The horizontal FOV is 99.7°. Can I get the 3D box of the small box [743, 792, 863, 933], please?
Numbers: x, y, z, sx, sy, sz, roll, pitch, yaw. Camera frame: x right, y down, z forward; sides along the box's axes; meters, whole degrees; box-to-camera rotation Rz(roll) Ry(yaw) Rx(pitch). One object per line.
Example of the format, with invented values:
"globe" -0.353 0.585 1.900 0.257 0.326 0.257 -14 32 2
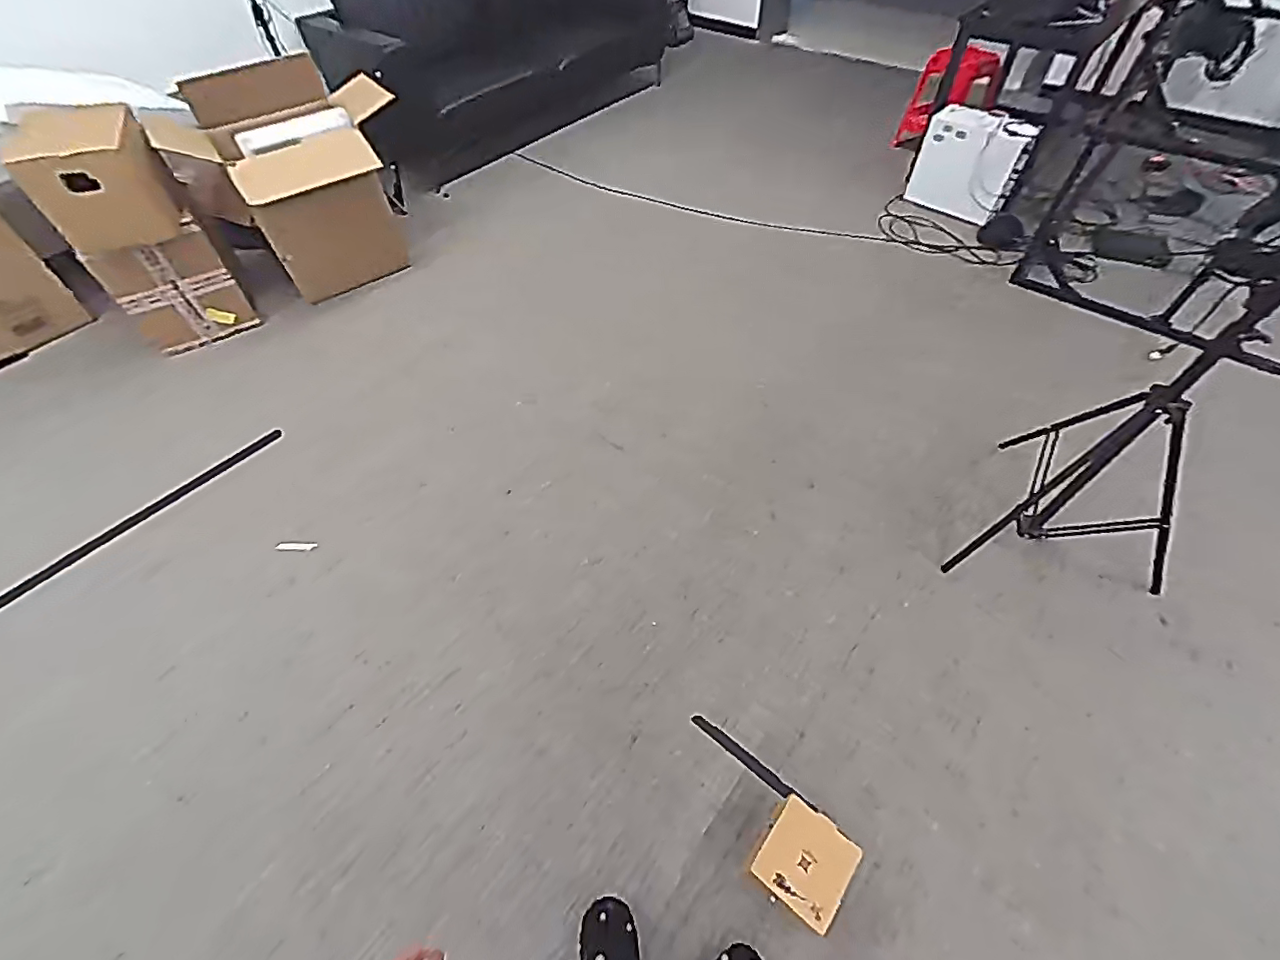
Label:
"small box" 0.336 0.808 1.148 0.168 0.176 0.179 32 59 23
